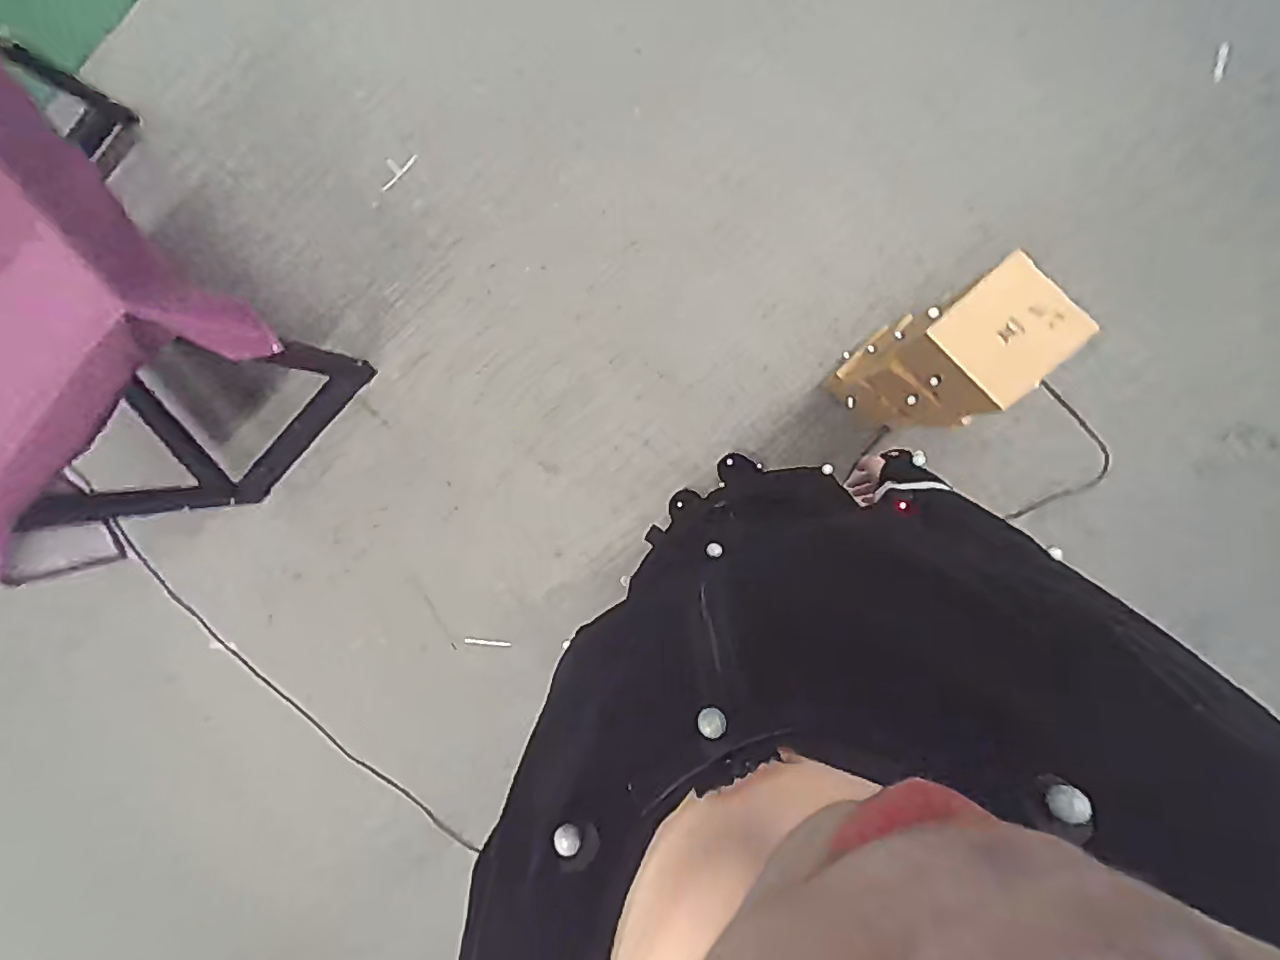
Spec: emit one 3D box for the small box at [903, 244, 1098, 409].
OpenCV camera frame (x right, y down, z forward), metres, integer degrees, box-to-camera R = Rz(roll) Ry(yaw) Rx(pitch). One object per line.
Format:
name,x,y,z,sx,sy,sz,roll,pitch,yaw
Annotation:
small box,0.555,-0.231,0.870,0.179,0.176,0.168,-43,86,8

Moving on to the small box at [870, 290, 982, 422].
small box,0.578,-0.225,1.033,0.179,0.176,0.168,39,97,5

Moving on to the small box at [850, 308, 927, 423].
small box,0.590,-0.241,1.196,0.168,0.176,0.179,36,96,5
